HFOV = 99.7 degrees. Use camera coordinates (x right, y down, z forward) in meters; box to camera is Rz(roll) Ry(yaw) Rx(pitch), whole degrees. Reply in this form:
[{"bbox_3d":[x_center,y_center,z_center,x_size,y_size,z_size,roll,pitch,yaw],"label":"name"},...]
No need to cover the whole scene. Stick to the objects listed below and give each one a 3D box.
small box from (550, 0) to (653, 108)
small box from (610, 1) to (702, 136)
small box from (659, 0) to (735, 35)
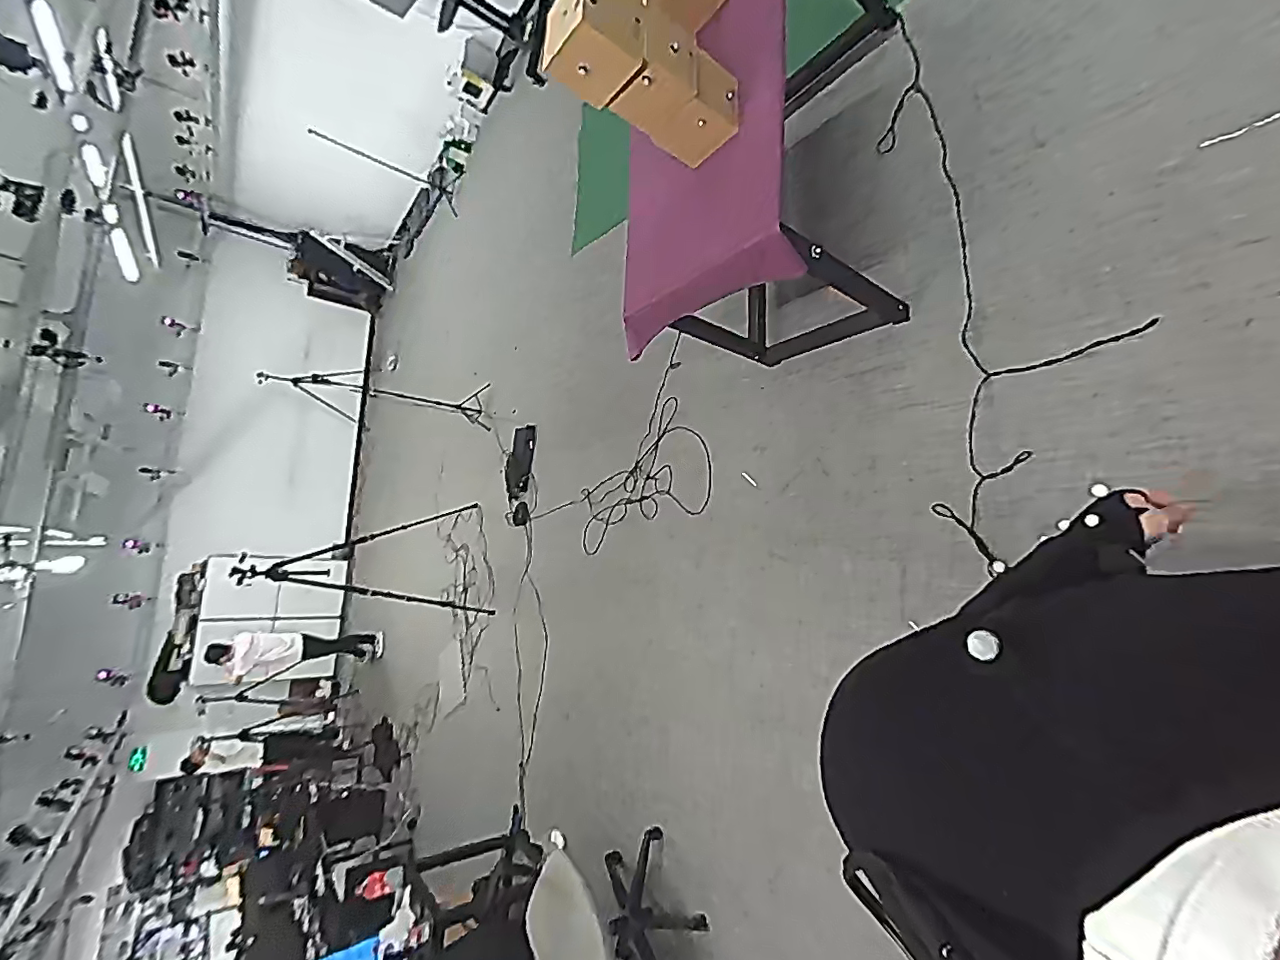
[{"bbox_3d":[-0.091,-1.033,1.271,0.179,0.176,0.168,-7,77,52],"label":"small box"},{"bbox_3d":[0.042,-1.028,1.369,0.179,0.176,0.168,-12,72,51],"label":"small box"},{"bbox_3d":[0.176,-1.455,1.563,0.179,0.176,0.168,-6,79,53],"label":"small box"}]
